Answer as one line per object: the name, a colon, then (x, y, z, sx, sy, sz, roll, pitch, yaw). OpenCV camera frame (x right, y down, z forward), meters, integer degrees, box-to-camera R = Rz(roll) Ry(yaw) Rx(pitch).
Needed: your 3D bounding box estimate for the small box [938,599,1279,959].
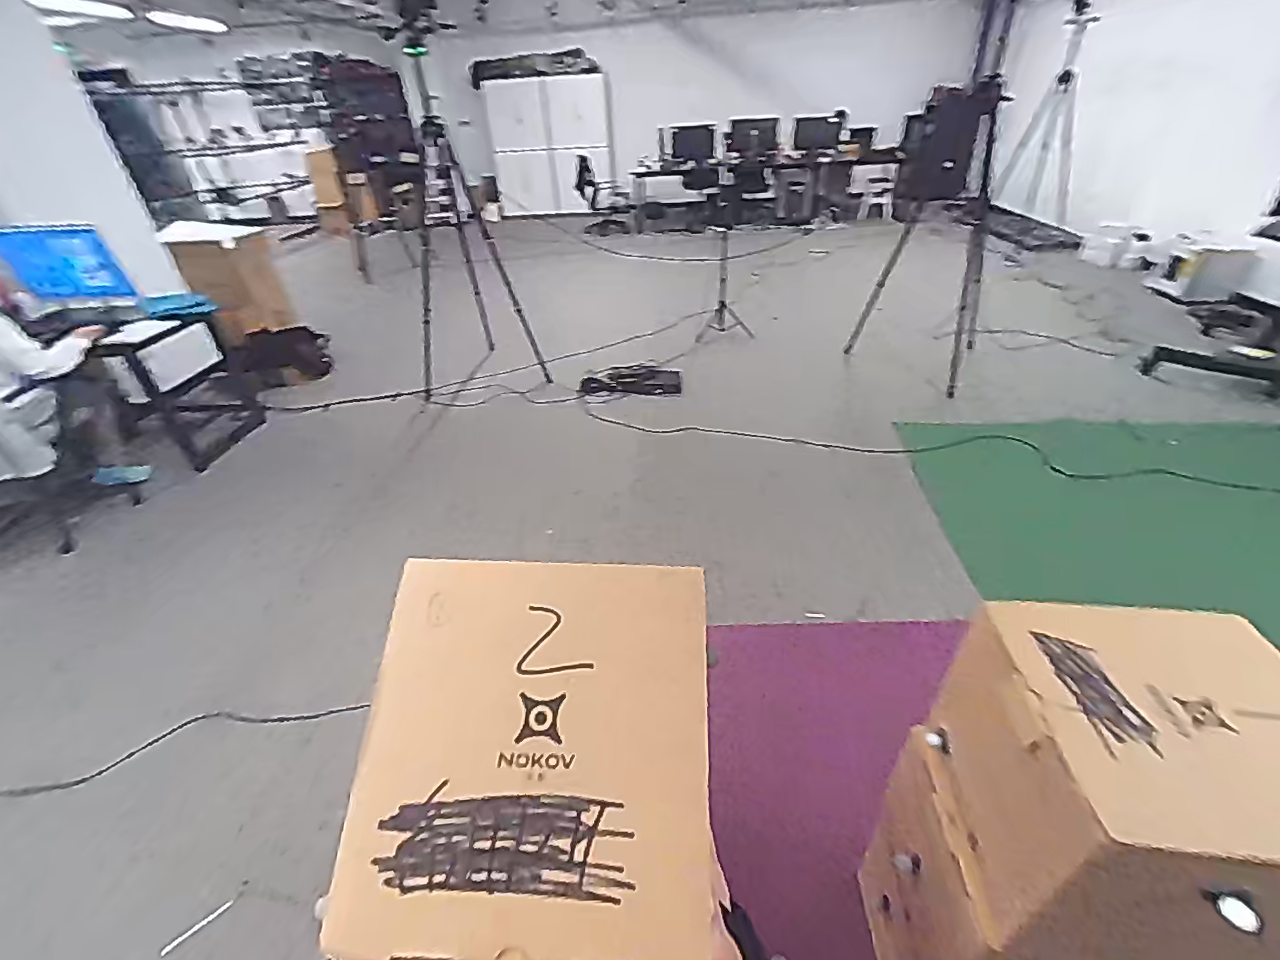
small box: (0.329, 0.203, 0.370, 0.179, 0.176, 0.168, 2, 36, 7)

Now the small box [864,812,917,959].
small box: (0.347, 0.471, 0.561, 0.179, 0.176, 0.168, -1, 35, 4)

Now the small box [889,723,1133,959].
small box: (0.330, 0.337, 0.467, 0.179, 0.176, 0.168, 1, 36, 8)
